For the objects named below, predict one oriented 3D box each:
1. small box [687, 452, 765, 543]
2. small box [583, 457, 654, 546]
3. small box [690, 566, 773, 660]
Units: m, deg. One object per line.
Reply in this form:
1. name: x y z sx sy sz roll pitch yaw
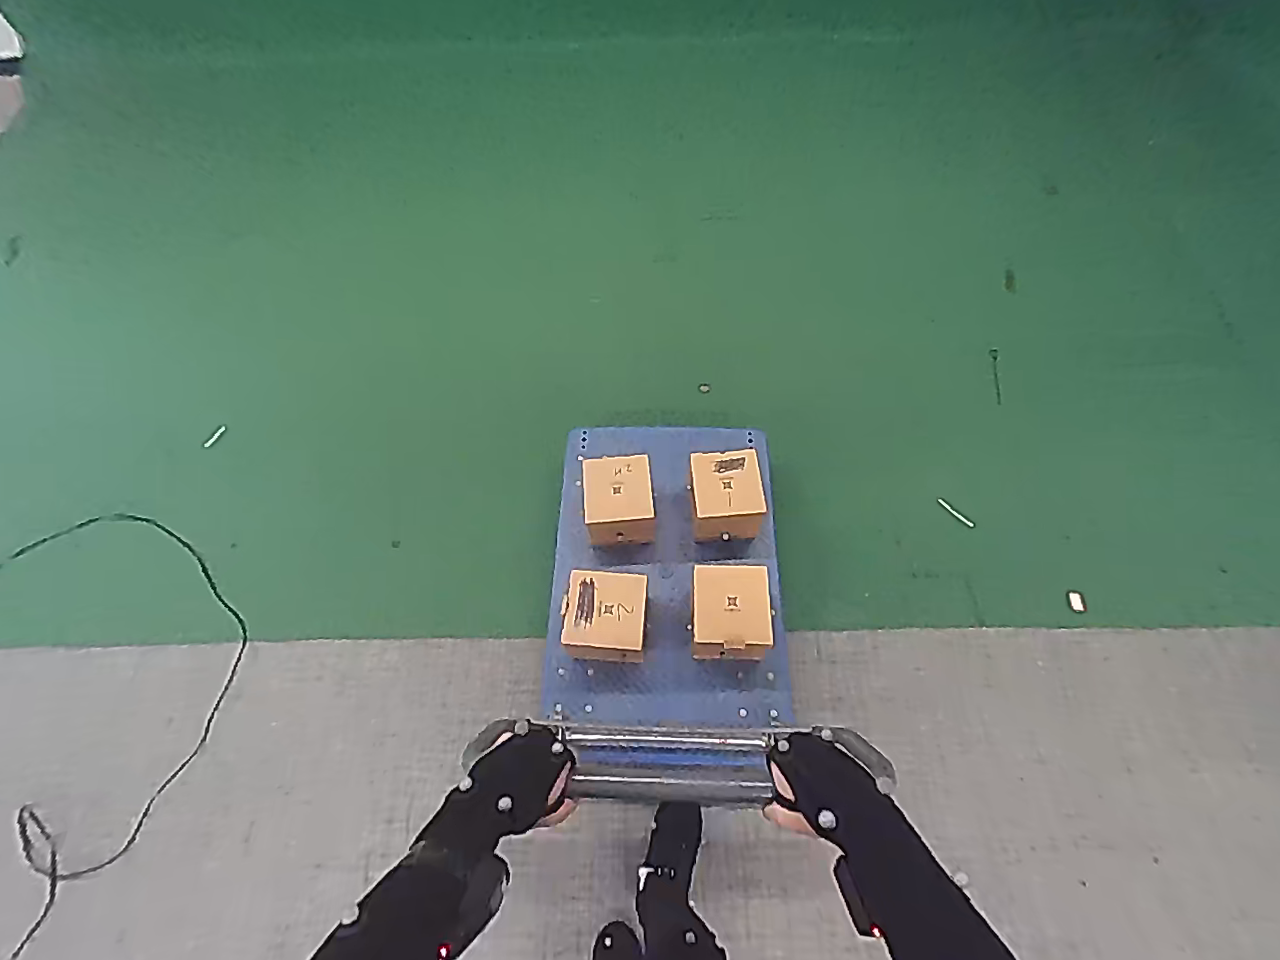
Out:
1. small box: 0.212 0.047 1.379 0.168 0.176 0.179 -4 64 0
2. small box: -0.053 0.061 1.379 0.168 0.176 0.179 -4 62 -2
3. small box: 0.203 0.308 1.245 0.168 0.176 0.179 1 63 2
